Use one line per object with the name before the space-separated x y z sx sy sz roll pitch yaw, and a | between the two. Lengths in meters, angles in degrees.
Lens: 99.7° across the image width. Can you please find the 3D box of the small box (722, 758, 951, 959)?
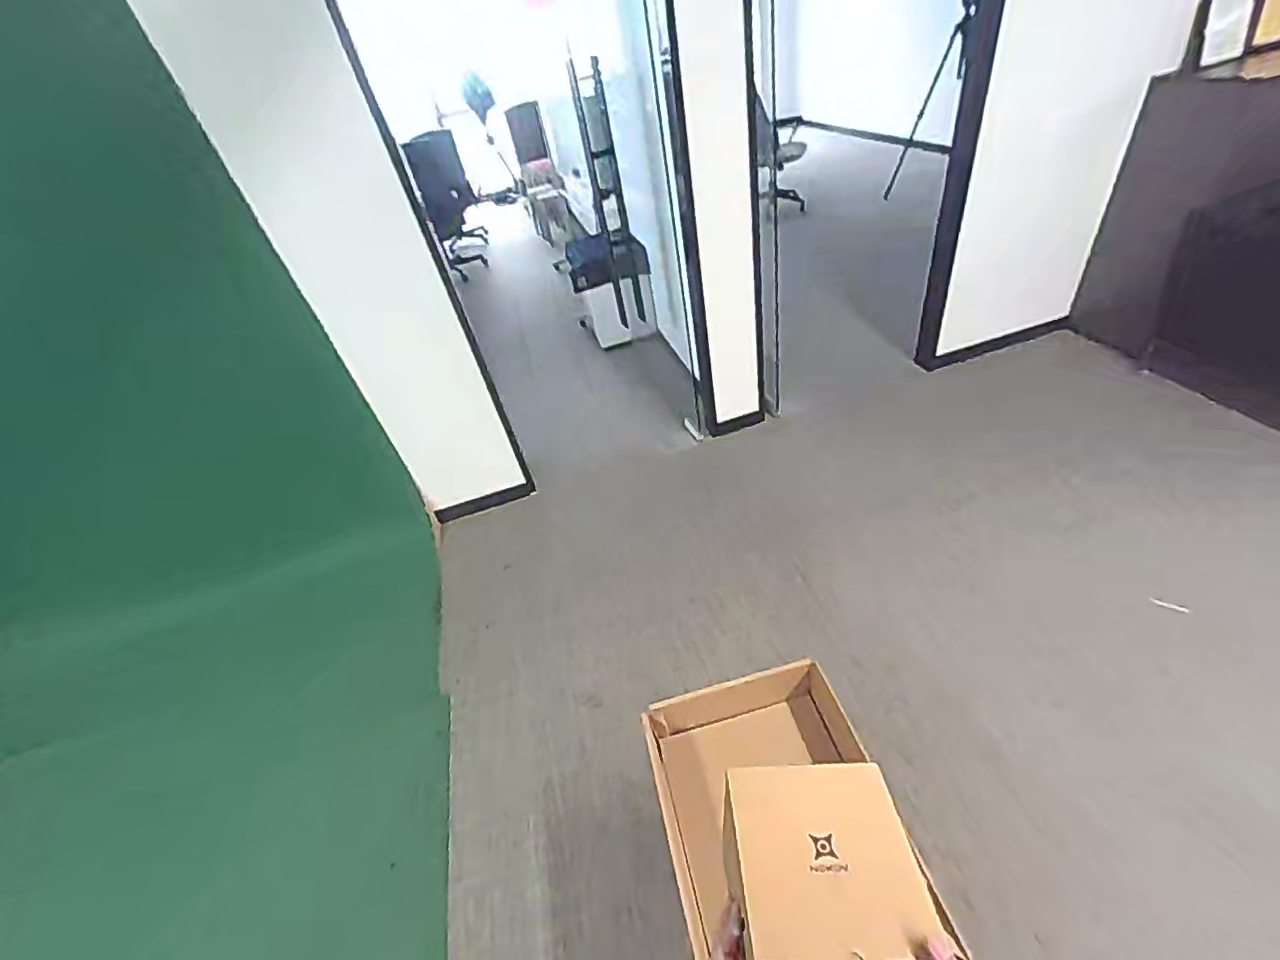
small box | 0.176 0.416 0.552 0.168 0.176 0.179 -3 31 2
